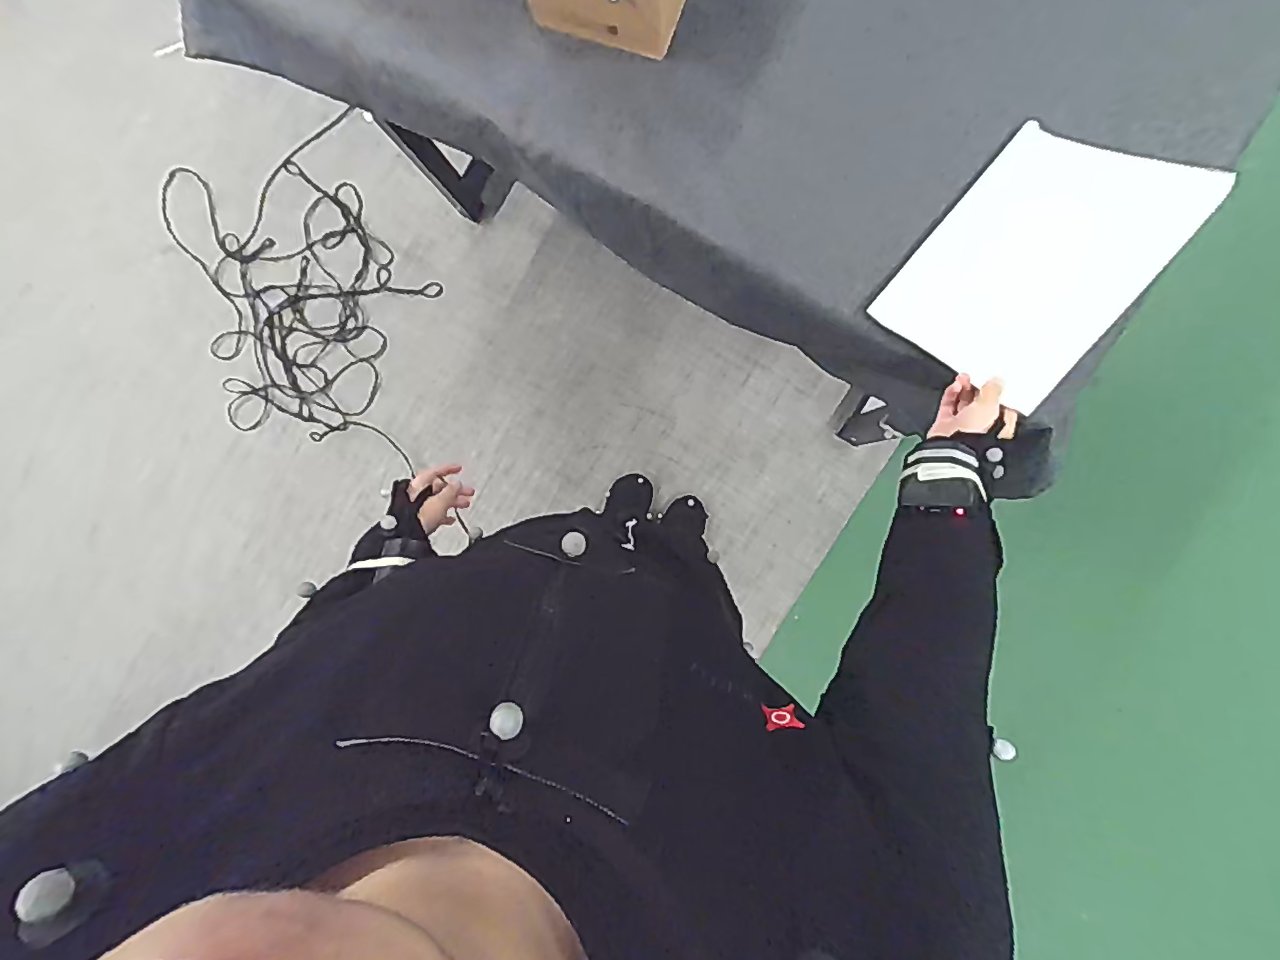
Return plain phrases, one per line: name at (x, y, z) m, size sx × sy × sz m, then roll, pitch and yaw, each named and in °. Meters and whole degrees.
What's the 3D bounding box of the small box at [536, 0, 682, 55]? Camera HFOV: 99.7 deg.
small box at (-0.027, -0.594, 0.554) m, size 0.168 × 0.176 × 0.179 m, roll 20°, pitch 91°, yaw 4°
